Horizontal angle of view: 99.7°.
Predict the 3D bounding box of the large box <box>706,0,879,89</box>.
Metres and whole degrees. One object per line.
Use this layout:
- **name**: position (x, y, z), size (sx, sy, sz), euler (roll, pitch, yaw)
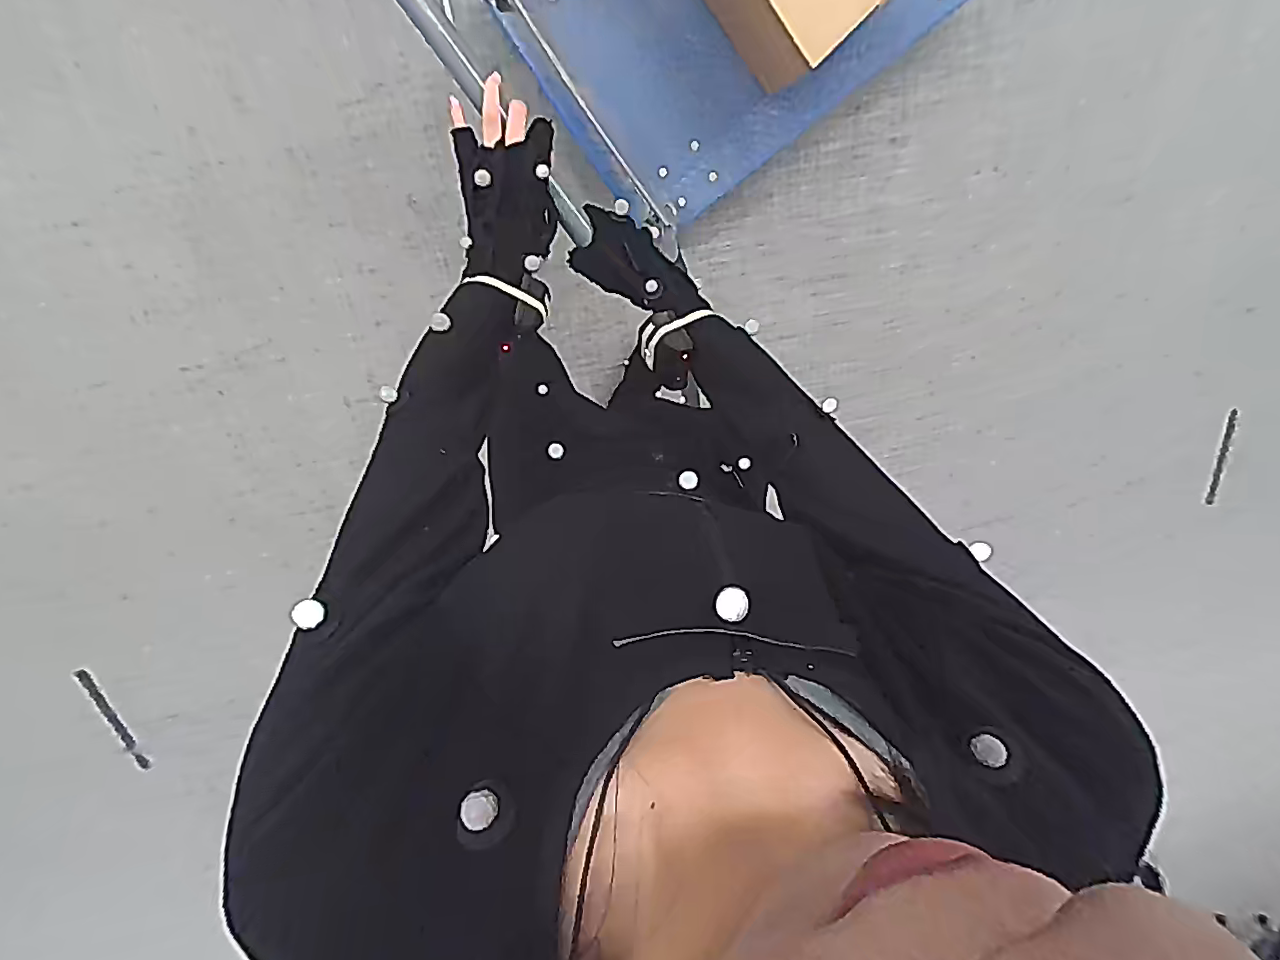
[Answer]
- **large box**: position (0.231, -0.912, 0.821), size (0.320, 0.320, 0.408), euler (-40, 113, 20)
